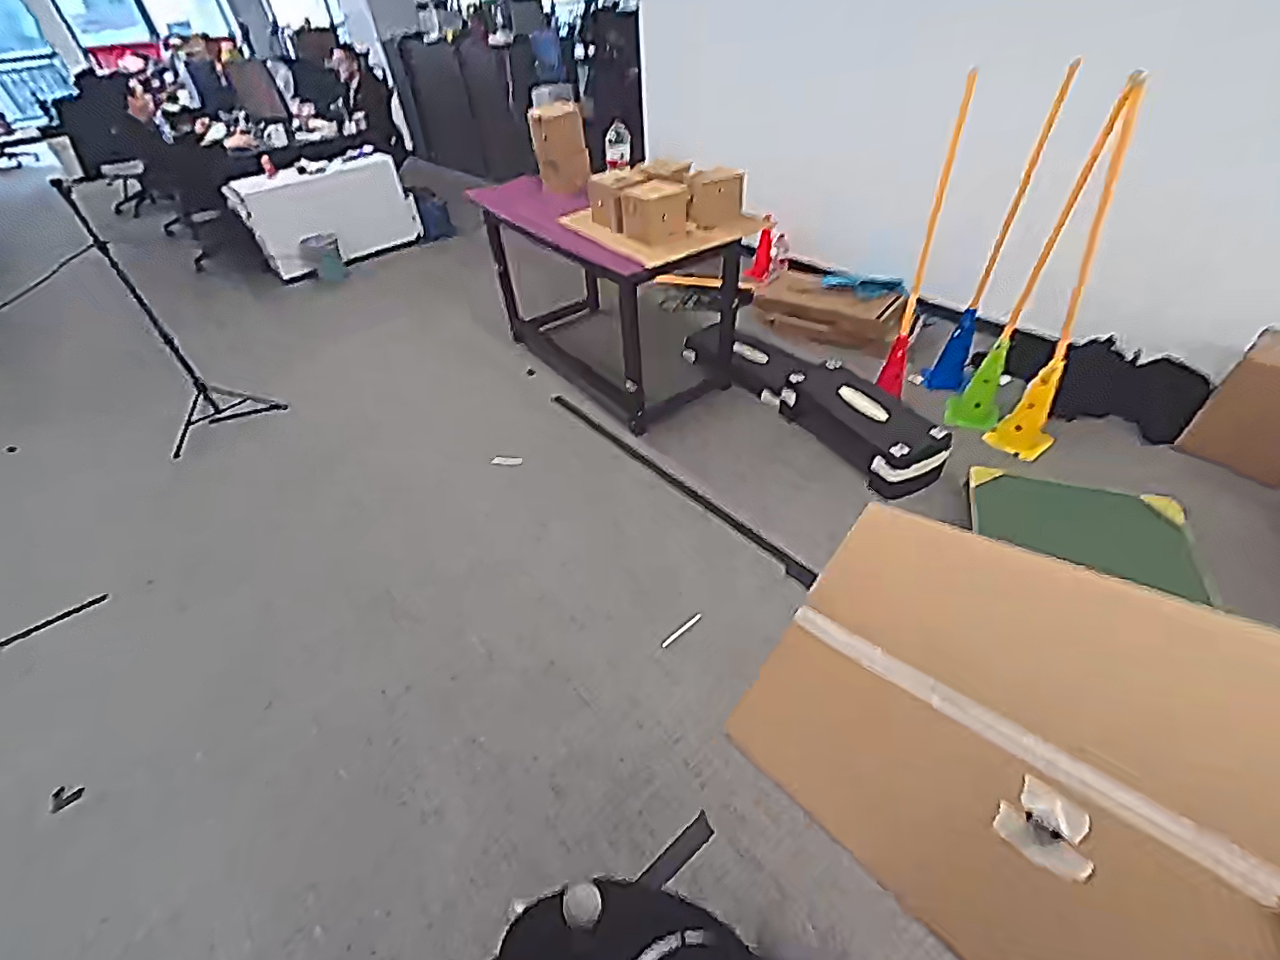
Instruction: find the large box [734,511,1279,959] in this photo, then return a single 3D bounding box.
[{"bbox_3d":[0.385,0.284,0.546,0.320,0.320,0.408,-54,35,-7],"label":"large box"}]
